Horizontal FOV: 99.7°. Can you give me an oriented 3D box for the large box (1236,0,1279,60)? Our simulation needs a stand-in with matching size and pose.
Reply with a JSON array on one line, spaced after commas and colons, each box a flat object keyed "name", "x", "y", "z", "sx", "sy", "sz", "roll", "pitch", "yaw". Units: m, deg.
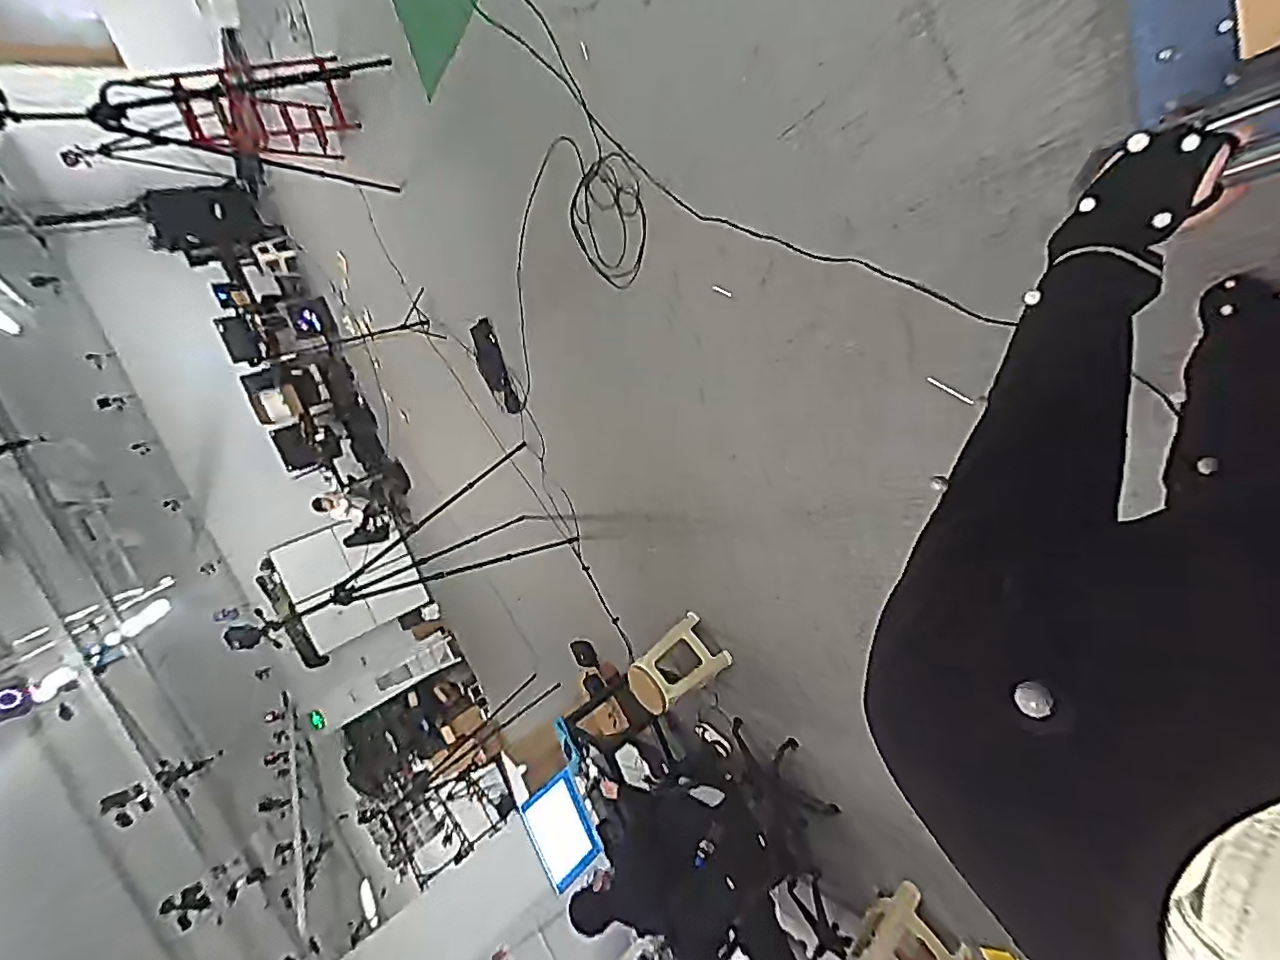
[{"name": "large box", "x": 0.898, "y": -0.778, "z": 0.598, "sx": 0.320, "sy": 0.320, "sz": 0.408, "roll": -2, "pitch": 110, "yaw": 54}]
